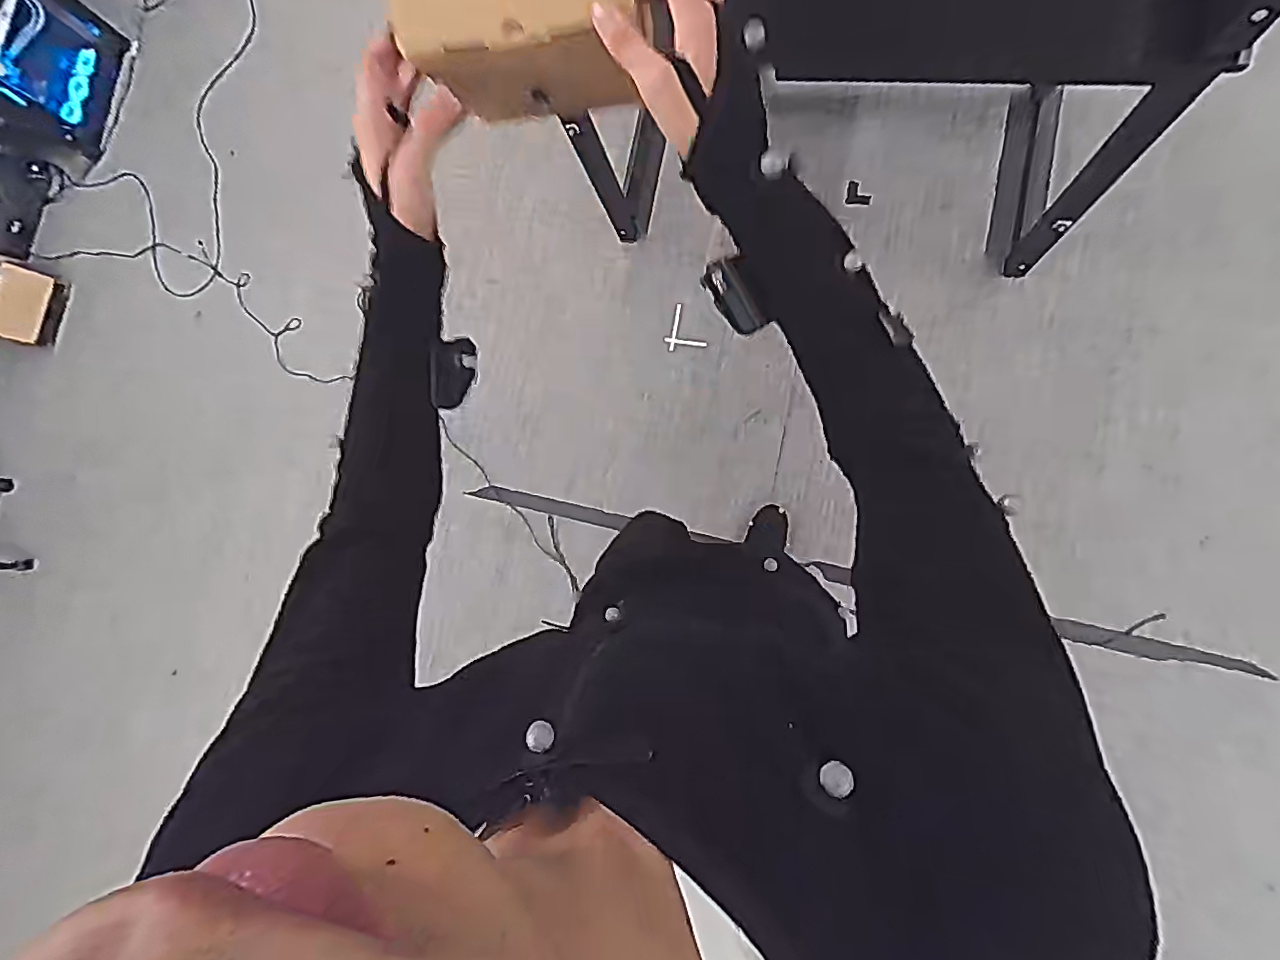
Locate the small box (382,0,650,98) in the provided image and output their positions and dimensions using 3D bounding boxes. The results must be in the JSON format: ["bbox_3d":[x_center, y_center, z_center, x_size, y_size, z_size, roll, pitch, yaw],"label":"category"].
[{"bbox_3d":[-0.085,-0.411,0.389,0.168,0.176,0.179,-3,111,7],"label":"small box"}]
